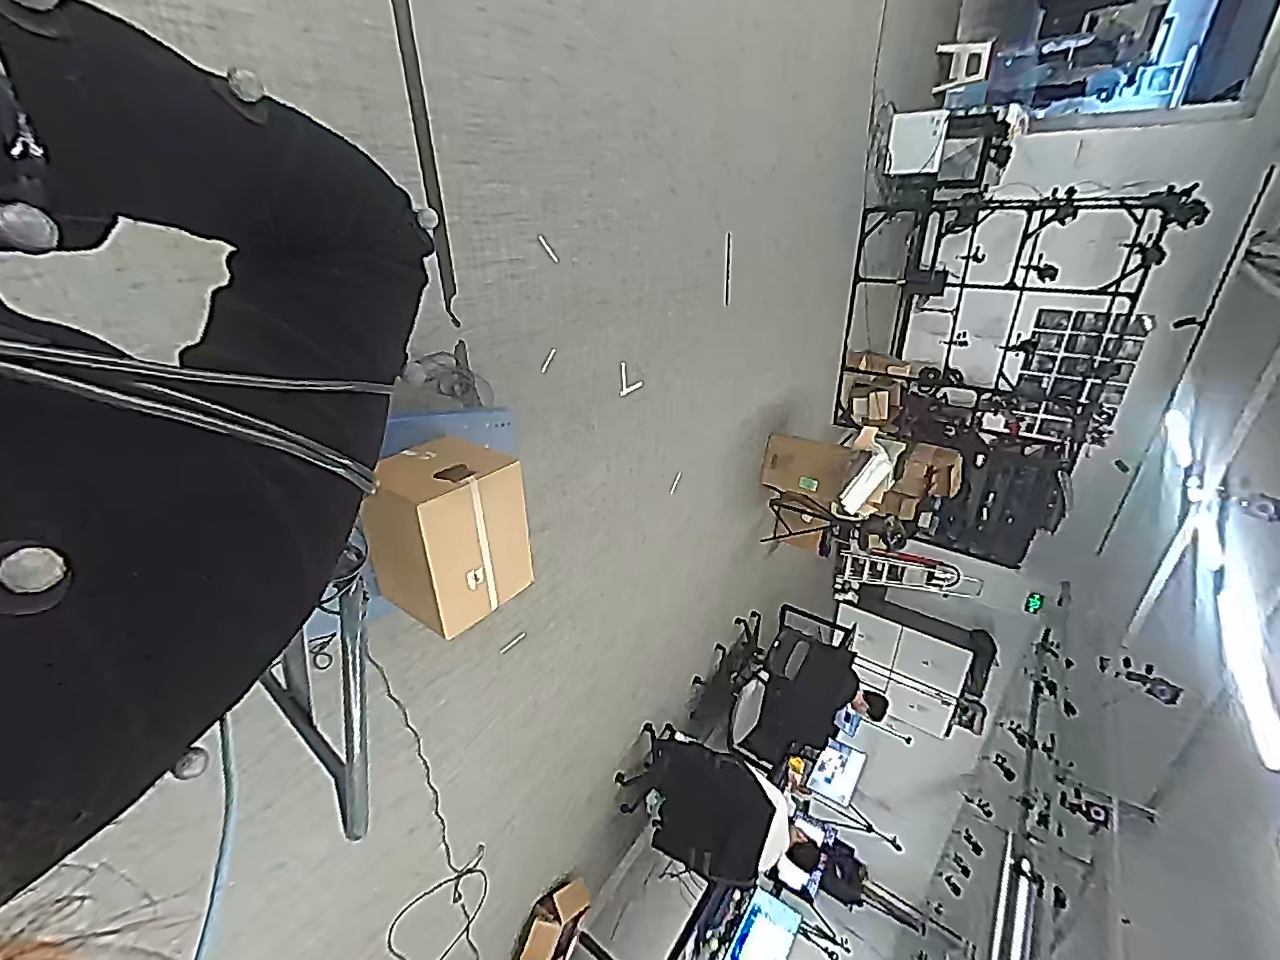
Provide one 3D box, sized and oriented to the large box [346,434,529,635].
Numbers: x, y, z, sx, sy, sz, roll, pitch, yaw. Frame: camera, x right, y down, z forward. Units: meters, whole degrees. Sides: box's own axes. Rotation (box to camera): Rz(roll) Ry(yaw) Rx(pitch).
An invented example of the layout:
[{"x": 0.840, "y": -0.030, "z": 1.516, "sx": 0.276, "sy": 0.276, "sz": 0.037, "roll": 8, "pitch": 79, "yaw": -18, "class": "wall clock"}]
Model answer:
[{"x": -0.539, "y": 0.131, "z": 1.483, "sx": 0.320, "sy": 0.320, "sz": 0.408, "roll": -31, "pitch": 130, "yaw": -46, "class": "large box"}]
